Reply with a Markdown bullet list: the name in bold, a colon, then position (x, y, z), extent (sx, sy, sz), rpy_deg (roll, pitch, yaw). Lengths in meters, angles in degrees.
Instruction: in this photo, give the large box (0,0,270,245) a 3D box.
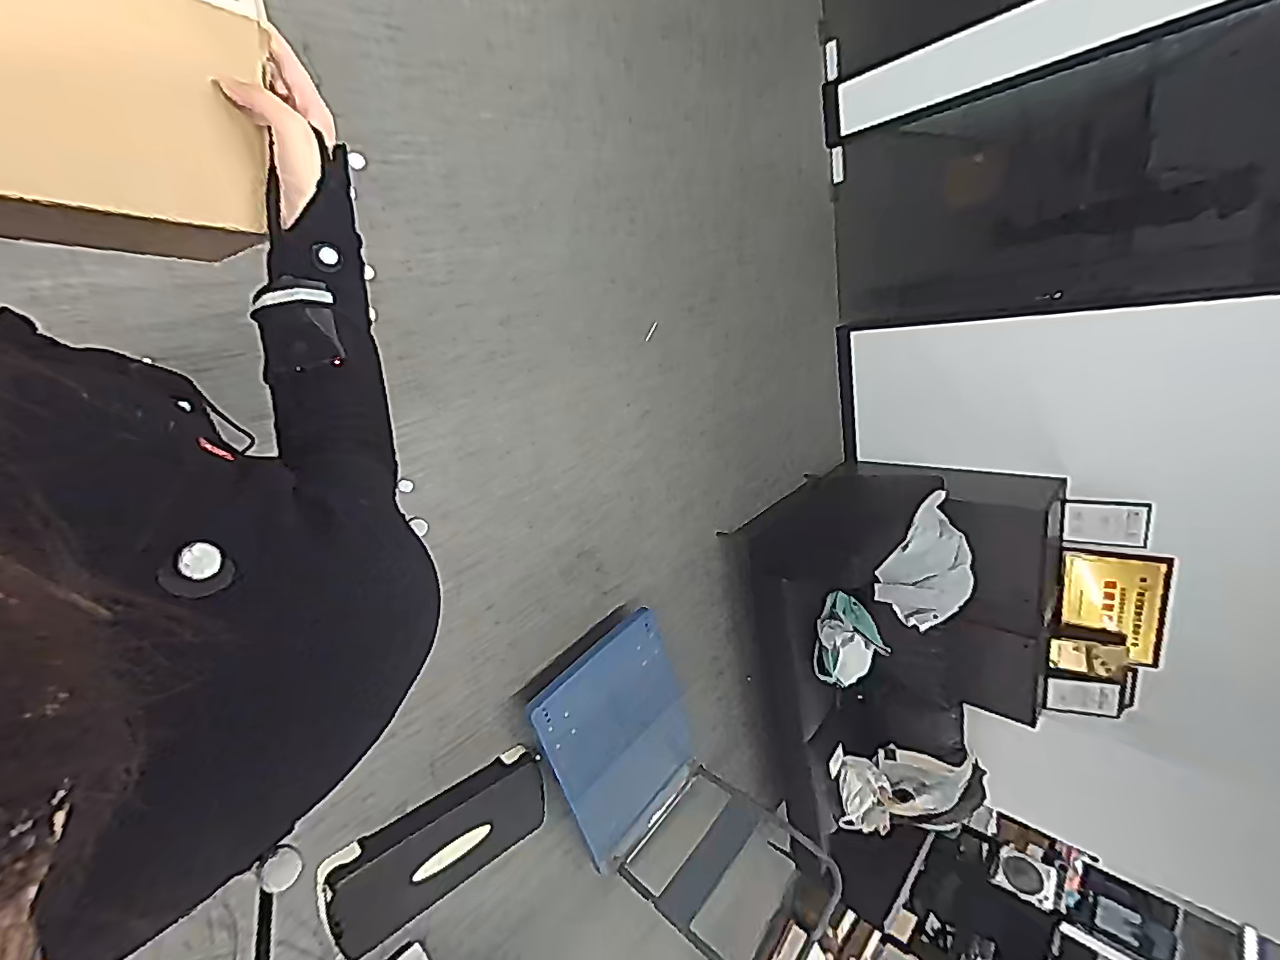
- **large box**: position (-0.541, -0.360, 0.377), extent (0.408, 0.320, 0.320), rpy_deg (-11, 110, -42)
